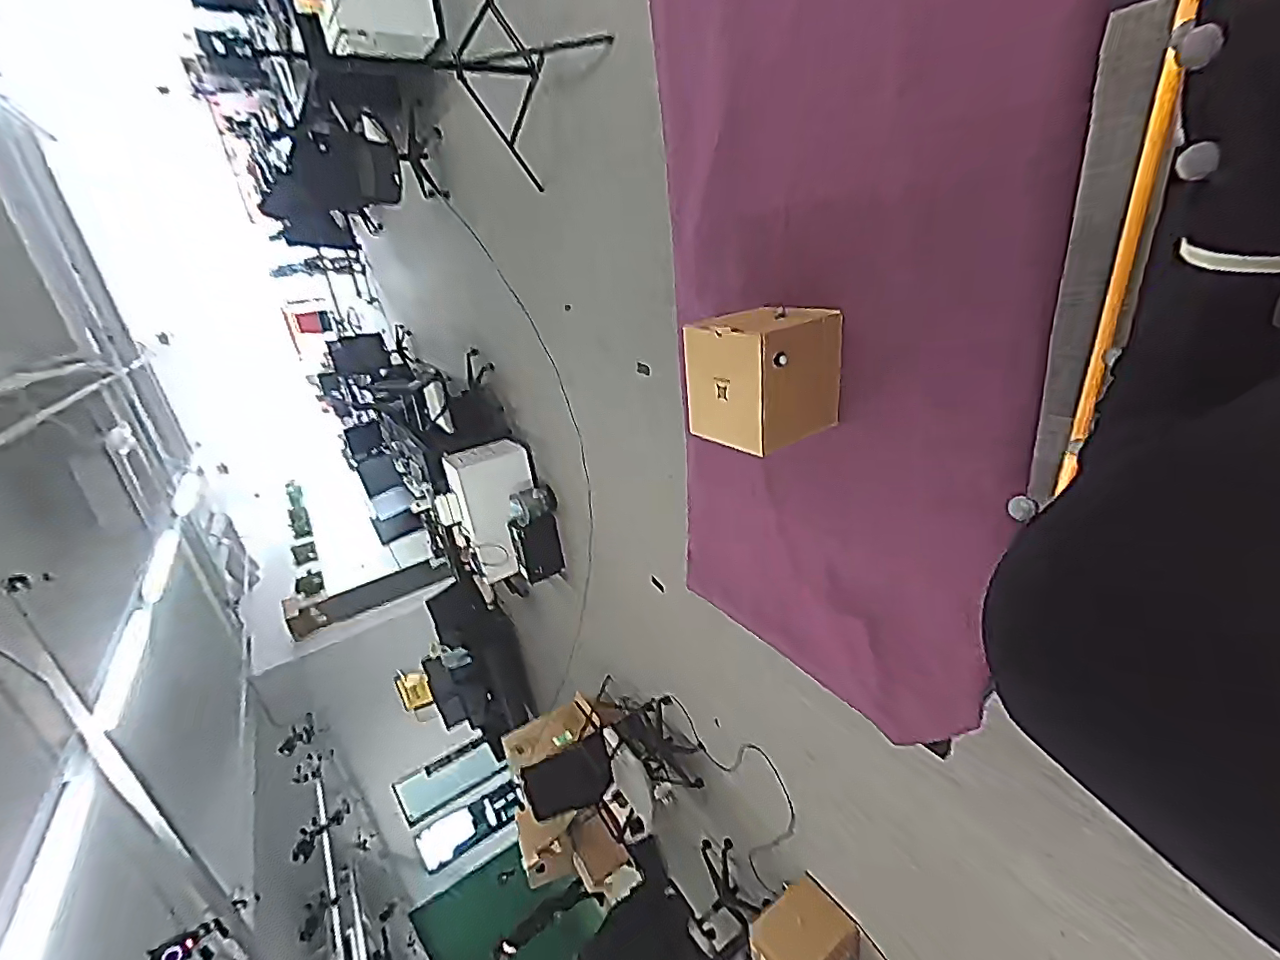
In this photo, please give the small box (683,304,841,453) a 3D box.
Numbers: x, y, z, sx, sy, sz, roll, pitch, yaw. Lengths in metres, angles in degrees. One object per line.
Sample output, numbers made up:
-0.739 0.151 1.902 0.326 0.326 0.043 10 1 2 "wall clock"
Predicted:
0.186 -0.162 0.824 0.168 0.176 0.179 27 130 52 "small box"
